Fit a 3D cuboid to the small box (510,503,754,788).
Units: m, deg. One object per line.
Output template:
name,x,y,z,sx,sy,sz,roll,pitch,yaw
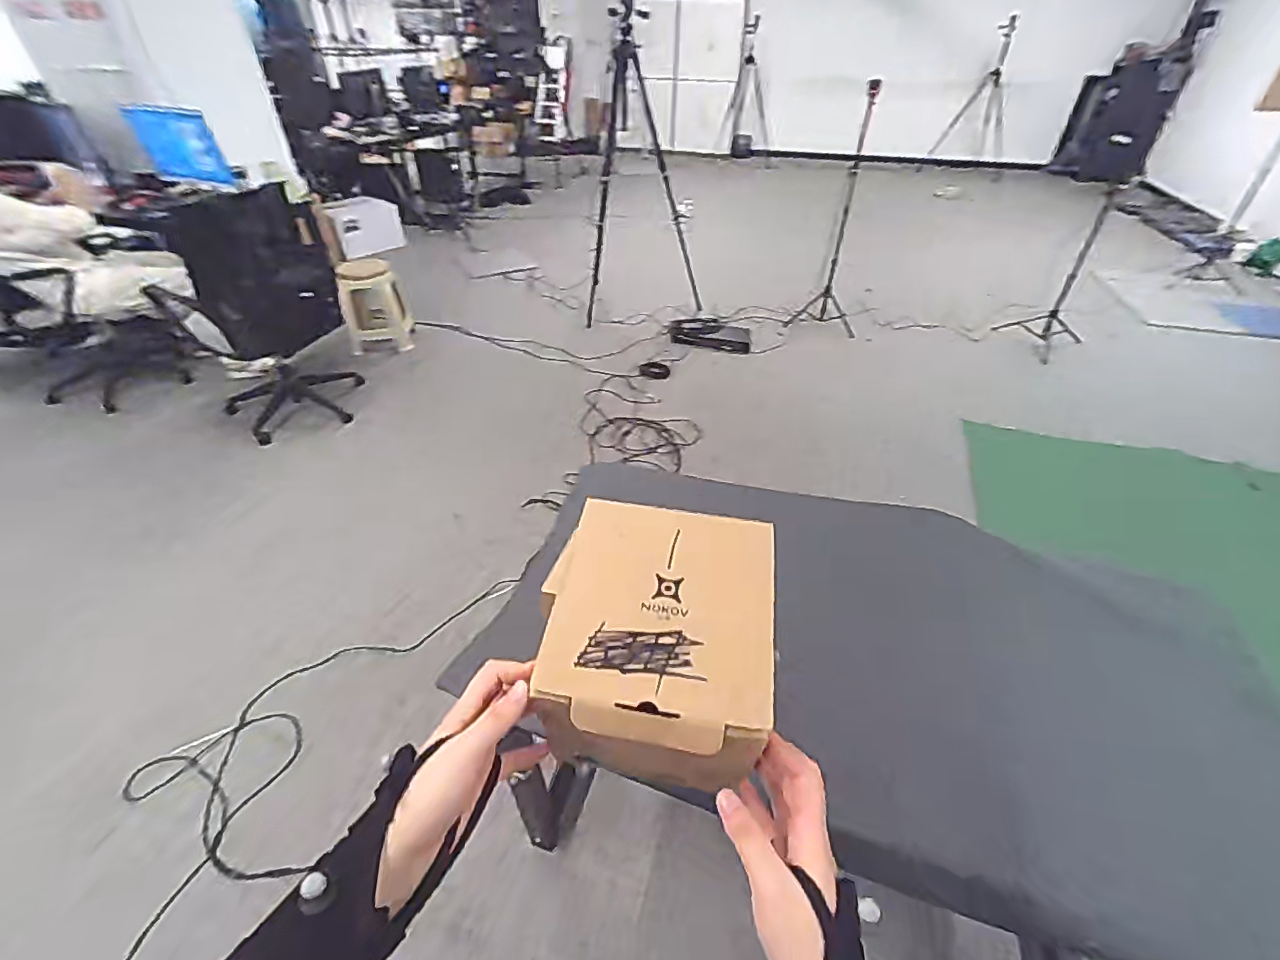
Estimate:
small box,0.004,0.147,0.474,0.168,0.176,0.179,7,48,6
